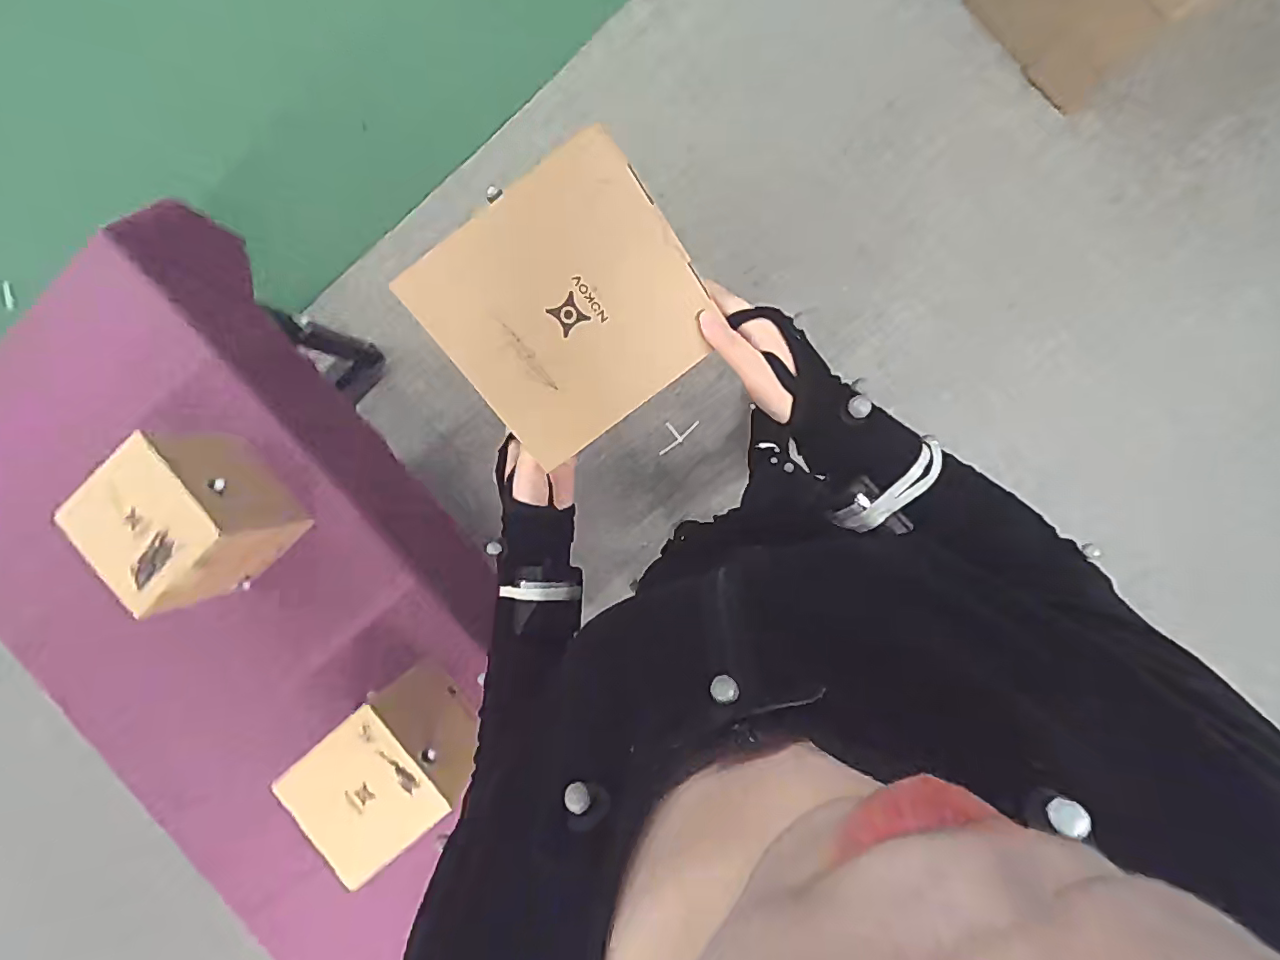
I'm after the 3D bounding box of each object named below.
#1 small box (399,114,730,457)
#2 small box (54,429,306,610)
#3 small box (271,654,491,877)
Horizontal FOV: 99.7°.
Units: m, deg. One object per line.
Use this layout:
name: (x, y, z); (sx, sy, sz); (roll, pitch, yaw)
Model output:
small box: (-0.059, -0.150, 0.448); (0.179, 0.176, 0.168); (-34, 110, 3)
small box: (-0.624, 0.046, 0.758); (0.168, 0.176, 0.179); (-41, 87, 6)
small box: (-0.340, 0.376, 0.744); (0.179, 0.176, 0.168); (-40, 89, 7)
